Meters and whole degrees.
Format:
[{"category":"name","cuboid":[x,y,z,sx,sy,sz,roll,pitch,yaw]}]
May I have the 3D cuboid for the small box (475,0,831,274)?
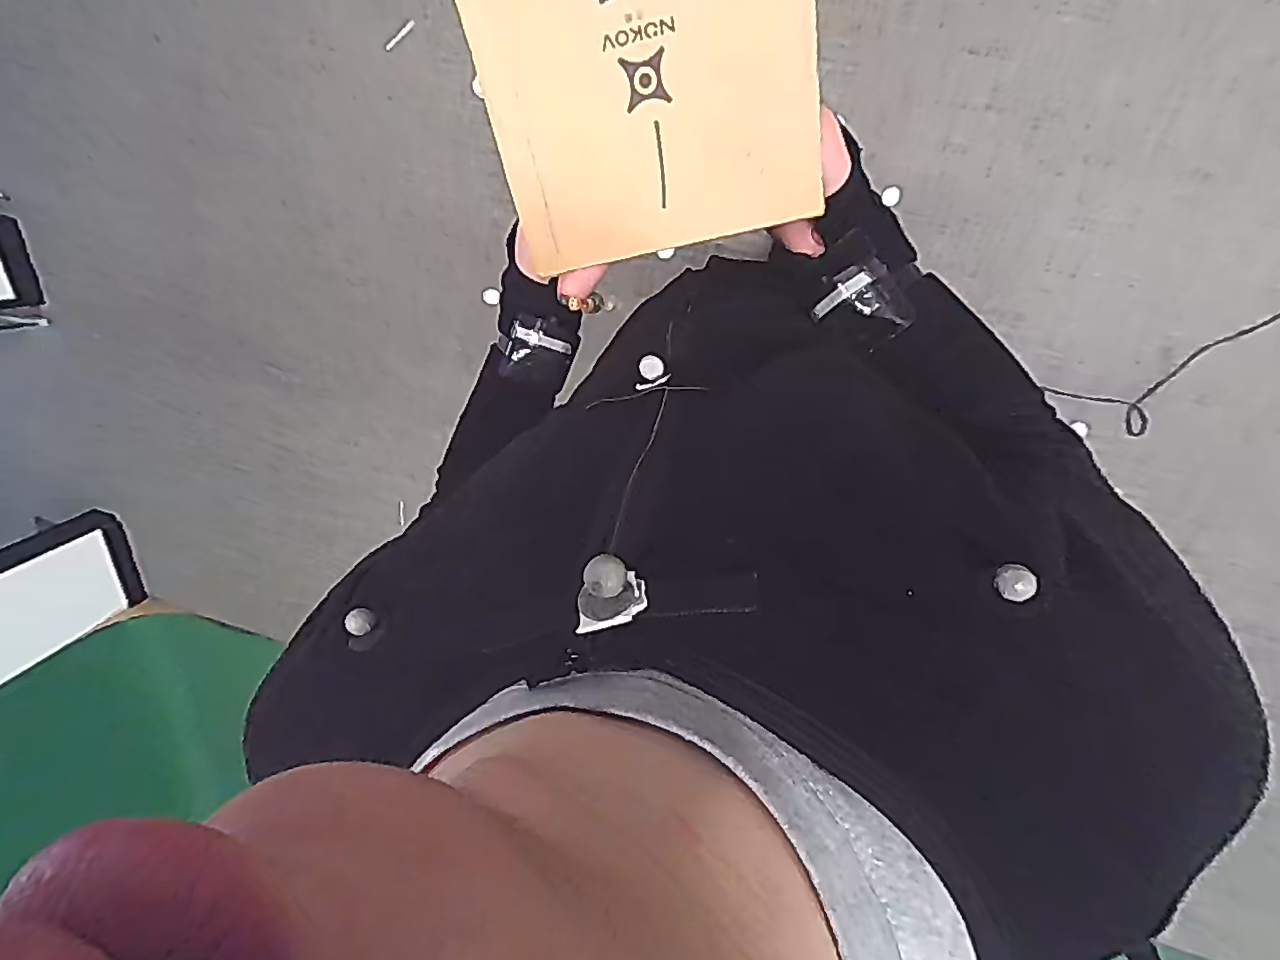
[{"category":"small box","cuboid":[0.010,-0.244,0.335,0.168,0.176,0.179,-10,119,7]}]
